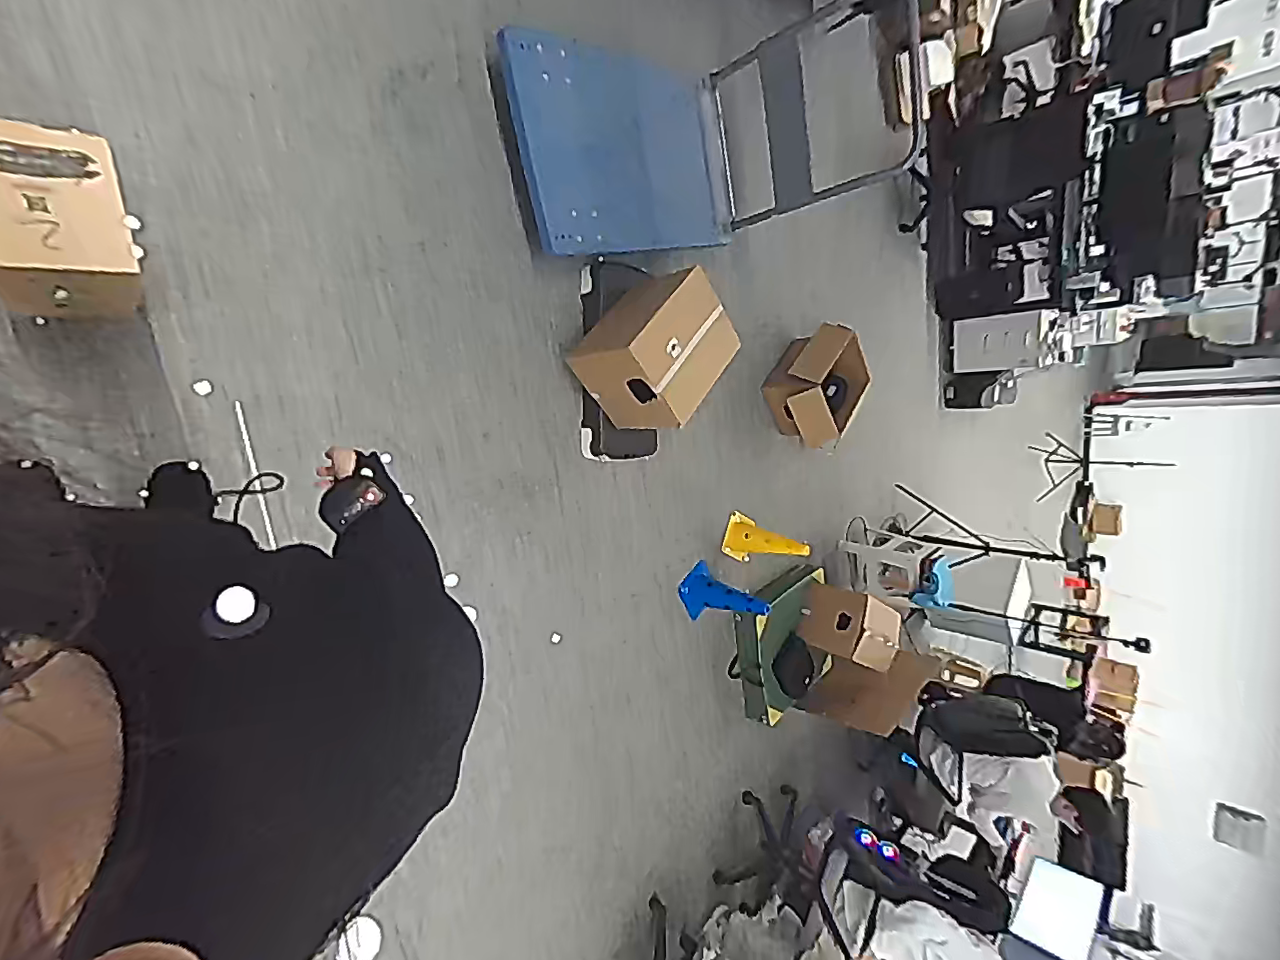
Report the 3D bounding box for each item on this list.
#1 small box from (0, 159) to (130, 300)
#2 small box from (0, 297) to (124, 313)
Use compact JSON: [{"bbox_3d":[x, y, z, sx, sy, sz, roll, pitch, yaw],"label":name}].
[{"bbox_3d":[-0.932,-0.380,0.845,0.179,0.176,0.168,-15,105,-42],"label":"small box"},{"bbox_3d":[-1.048,-0.398,0.960,0.168,0.176,0.179,-15,104,-42],"label":"small box"}]
